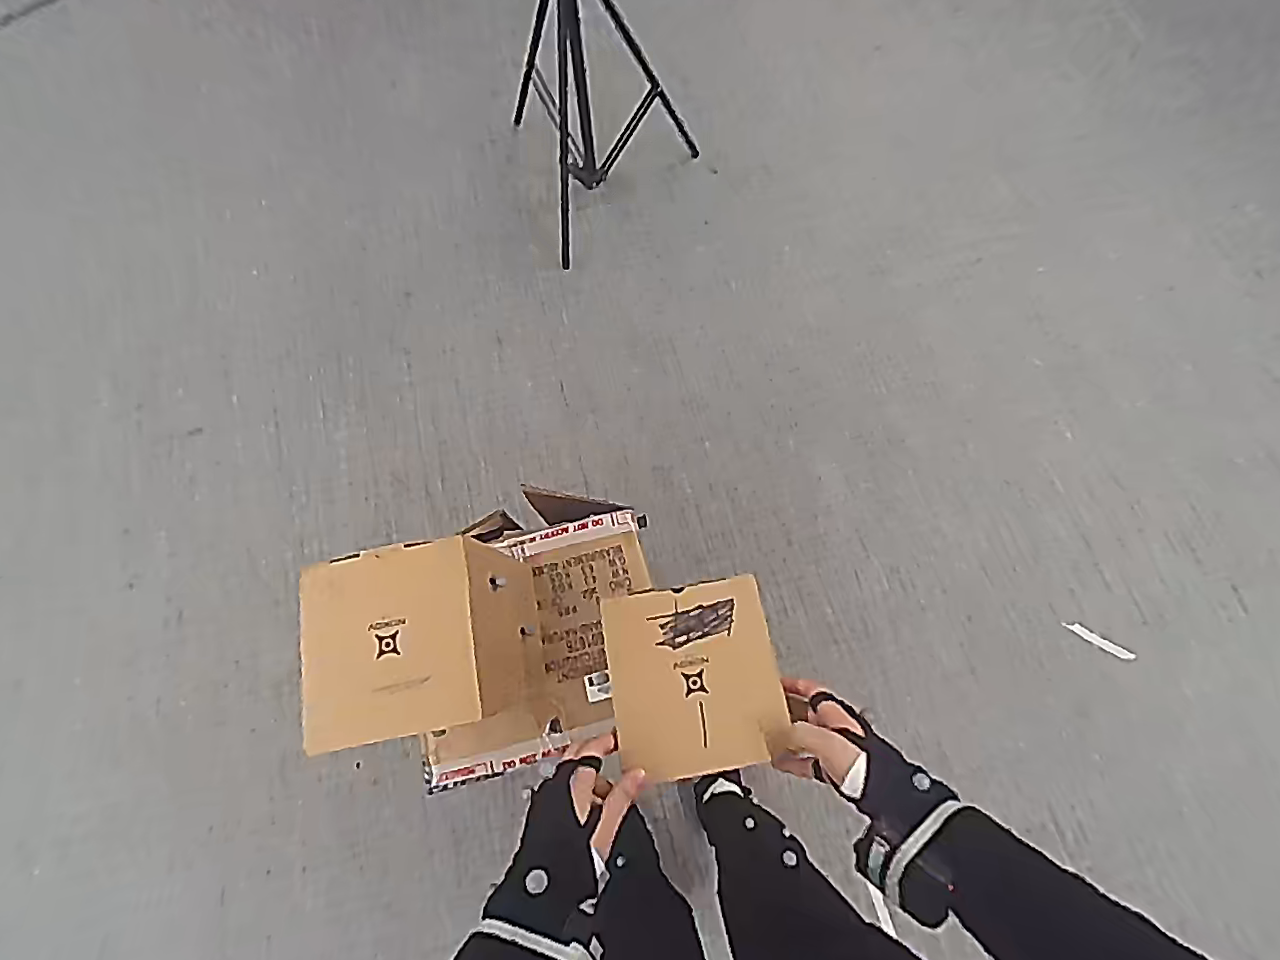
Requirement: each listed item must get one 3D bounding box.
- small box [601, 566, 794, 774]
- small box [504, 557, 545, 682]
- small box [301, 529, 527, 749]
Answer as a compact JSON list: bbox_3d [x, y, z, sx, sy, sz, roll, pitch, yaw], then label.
[{"bbox_3d":[0.048,0.211,0.603,0.168,0.176,0.179,-8,68,-5],"label":"small box"},{"bbox_3d":[-0.237,0.204,0.742,0.168,0.176,0.179,-12,75,-1],"label":"small box"},{"bbox_3d":[-0.231,0.165,0.584,0.168,0.176,0.179,-12,76,0],"label":"small box"}]
